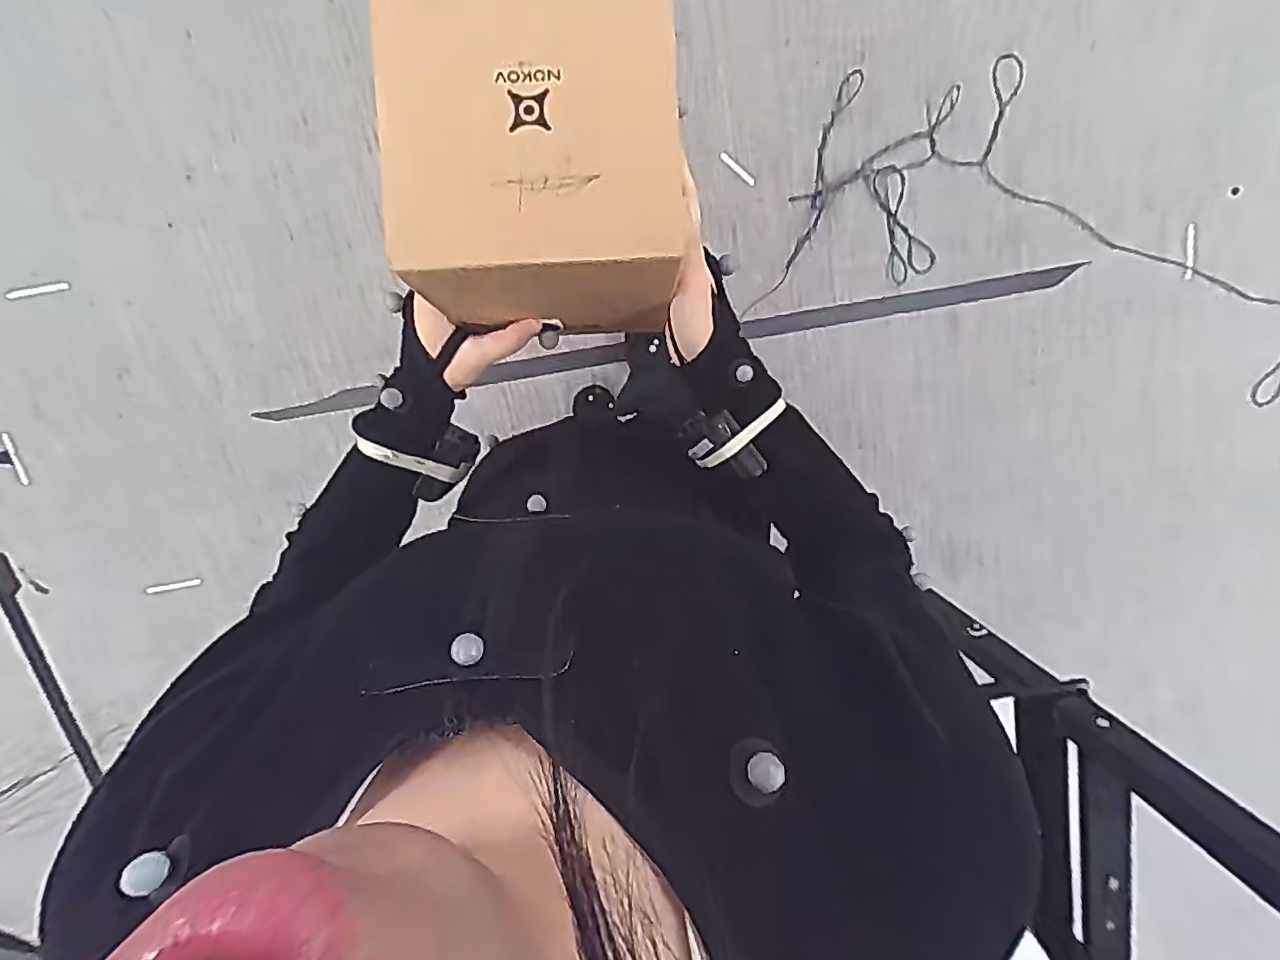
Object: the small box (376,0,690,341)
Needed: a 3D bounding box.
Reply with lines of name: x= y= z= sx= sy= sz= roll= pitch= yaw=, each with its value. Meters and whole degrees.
small box: x=-0.060 y=-0.207 z=0.376 sx=0.168 sy=0.176 sz=0.179 roll=-4 pitch=92 yaw=-1
